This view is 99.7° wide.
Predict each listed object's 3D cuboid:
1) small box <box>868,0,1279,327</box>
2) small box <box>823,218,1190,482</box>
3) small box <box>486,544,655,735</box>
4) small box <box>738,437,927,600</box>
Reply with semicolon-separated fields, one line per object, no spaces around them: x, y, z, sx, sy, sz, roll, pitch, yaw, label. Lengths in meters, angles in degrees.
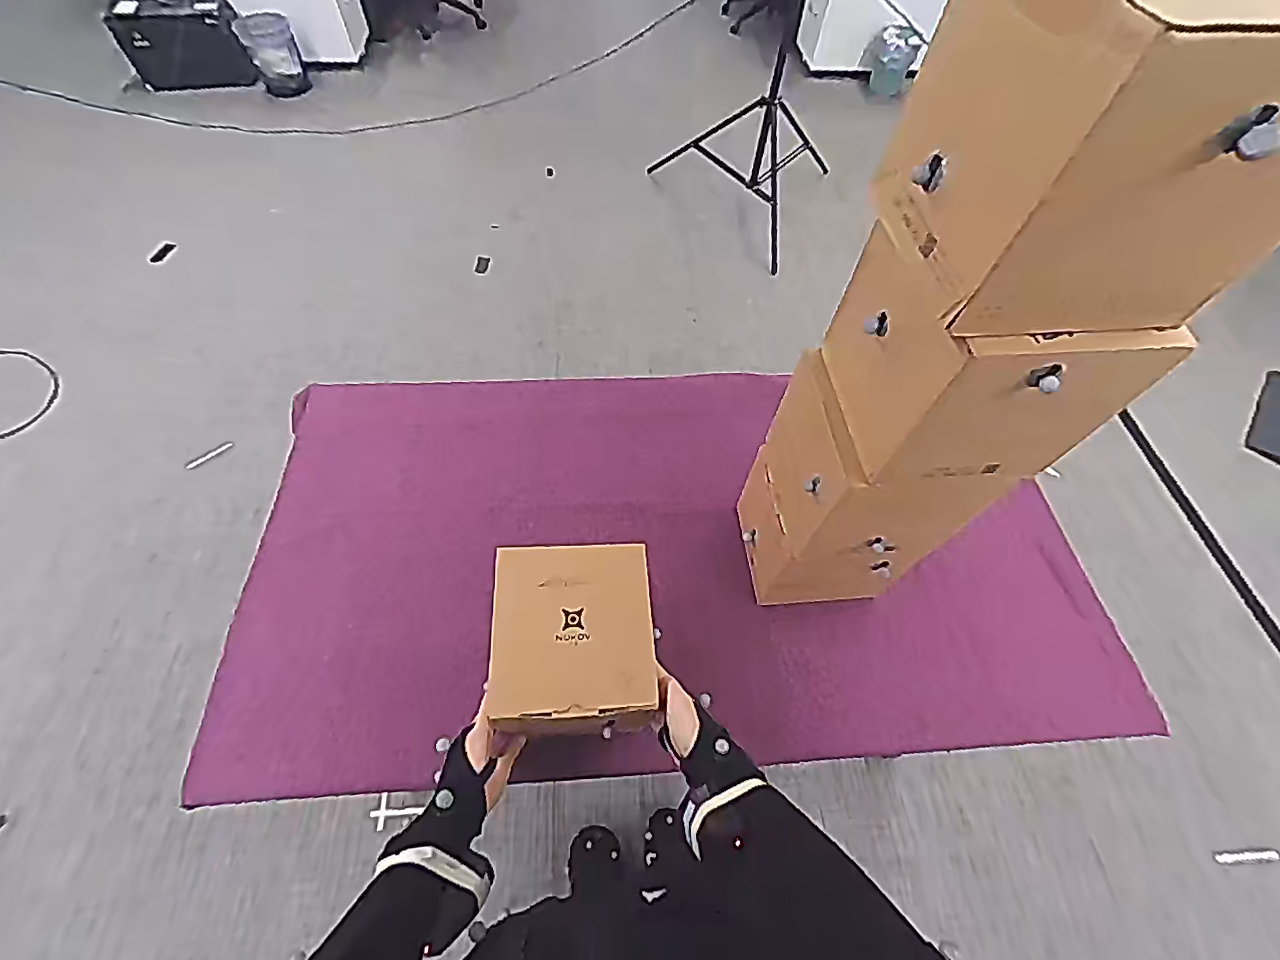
0.277;-0.213;0.335;0.179;0.176;0.168;-4;59;-5;small box
0.278;-0.117;0.468;0.168;0.176;0.179;-4;58;-5;small box
-0.079;0.190;0.628;0.168;0.176;0.179;-1;57;-9;small box
0.247;0.057;0.744;0.179;0.176;0.168;-4;58;-4;small box
